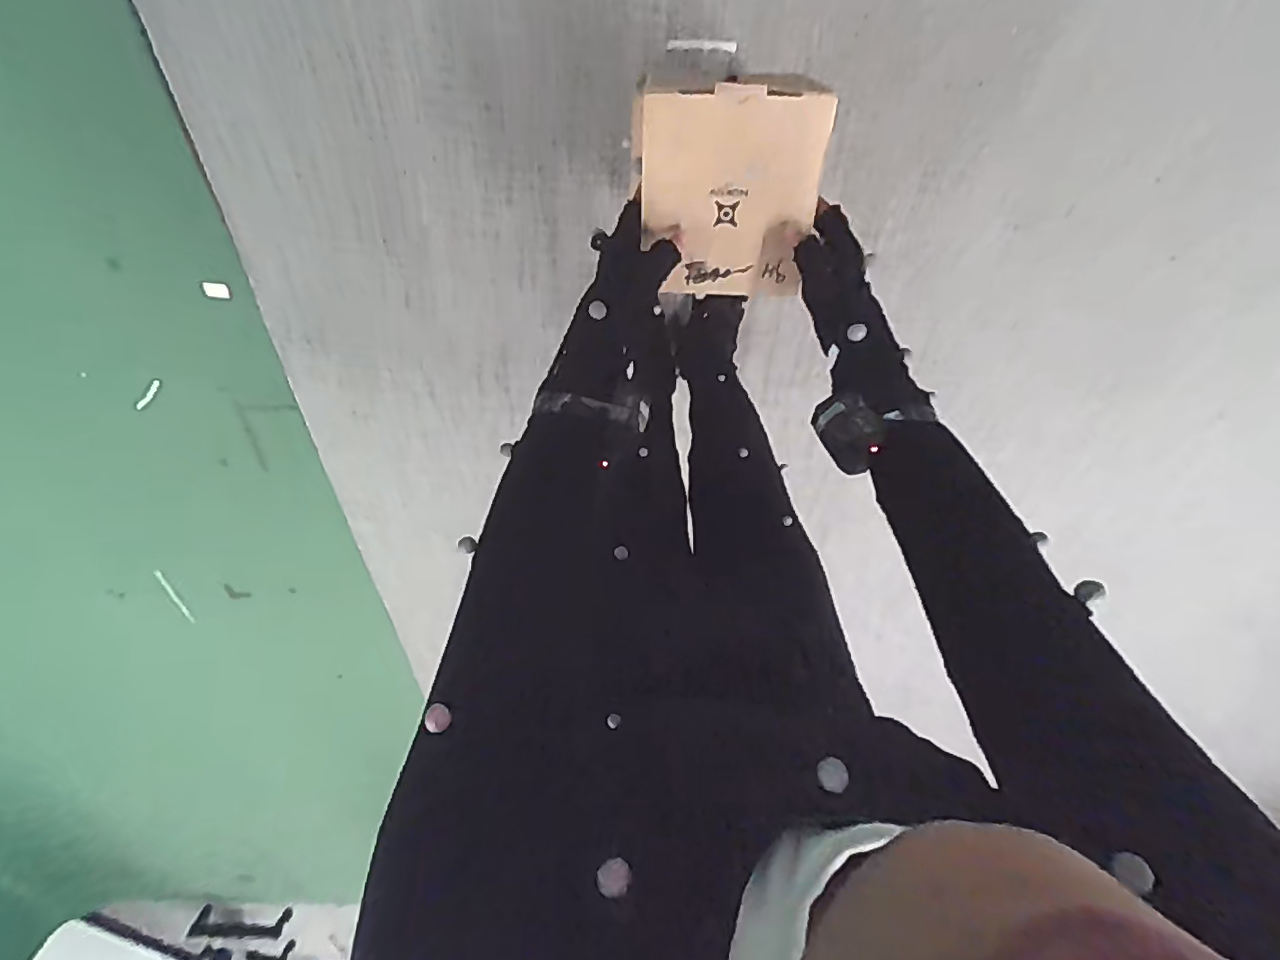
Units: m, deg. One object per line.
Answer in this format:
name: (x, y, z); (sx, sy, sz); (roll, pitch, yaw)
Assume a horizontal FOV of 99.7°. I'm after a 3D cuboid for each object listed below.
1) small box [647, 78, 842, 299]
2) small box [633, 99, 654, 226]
small box: (0.093, -0.310, 0.572); (0.168, 0.176, 0.179); (3, 132, 2)
small box: (0.082, -0.522, 0.893); (0.179, 0.176, 0.168); (4, 128, -1)
